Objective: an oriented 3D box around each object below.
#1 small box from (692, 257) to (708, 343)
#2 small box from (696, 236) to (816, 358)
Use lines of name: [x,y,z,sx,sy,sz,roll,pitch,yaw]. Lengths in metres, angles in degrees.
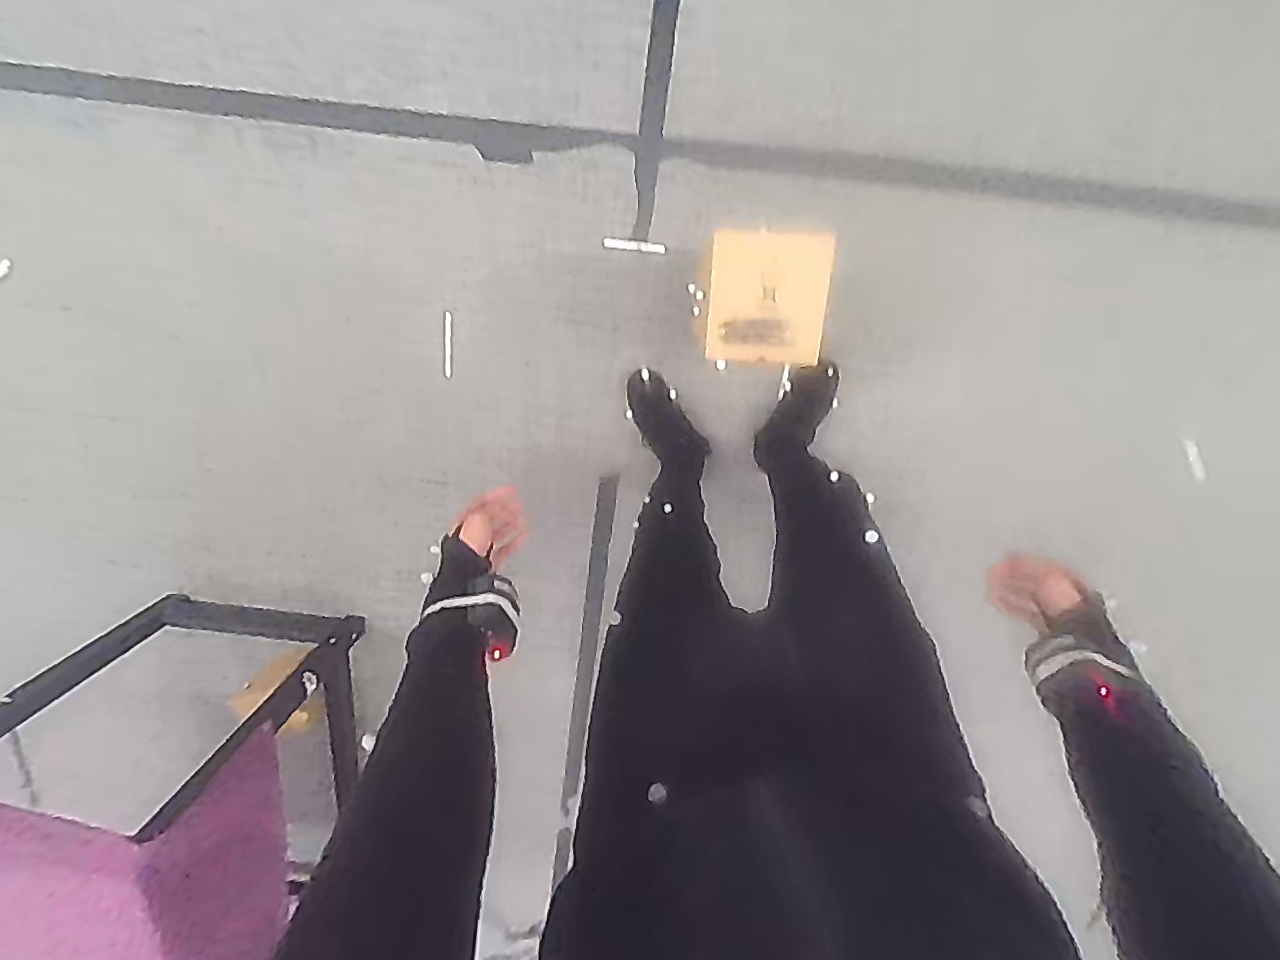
small box: [0.208,-0.376,1.142,0.179,0.176,0.168,5,110,1]
small box: [0.199,-0.332,0.985,0.168,0.176,0.179,9,111,-1]
